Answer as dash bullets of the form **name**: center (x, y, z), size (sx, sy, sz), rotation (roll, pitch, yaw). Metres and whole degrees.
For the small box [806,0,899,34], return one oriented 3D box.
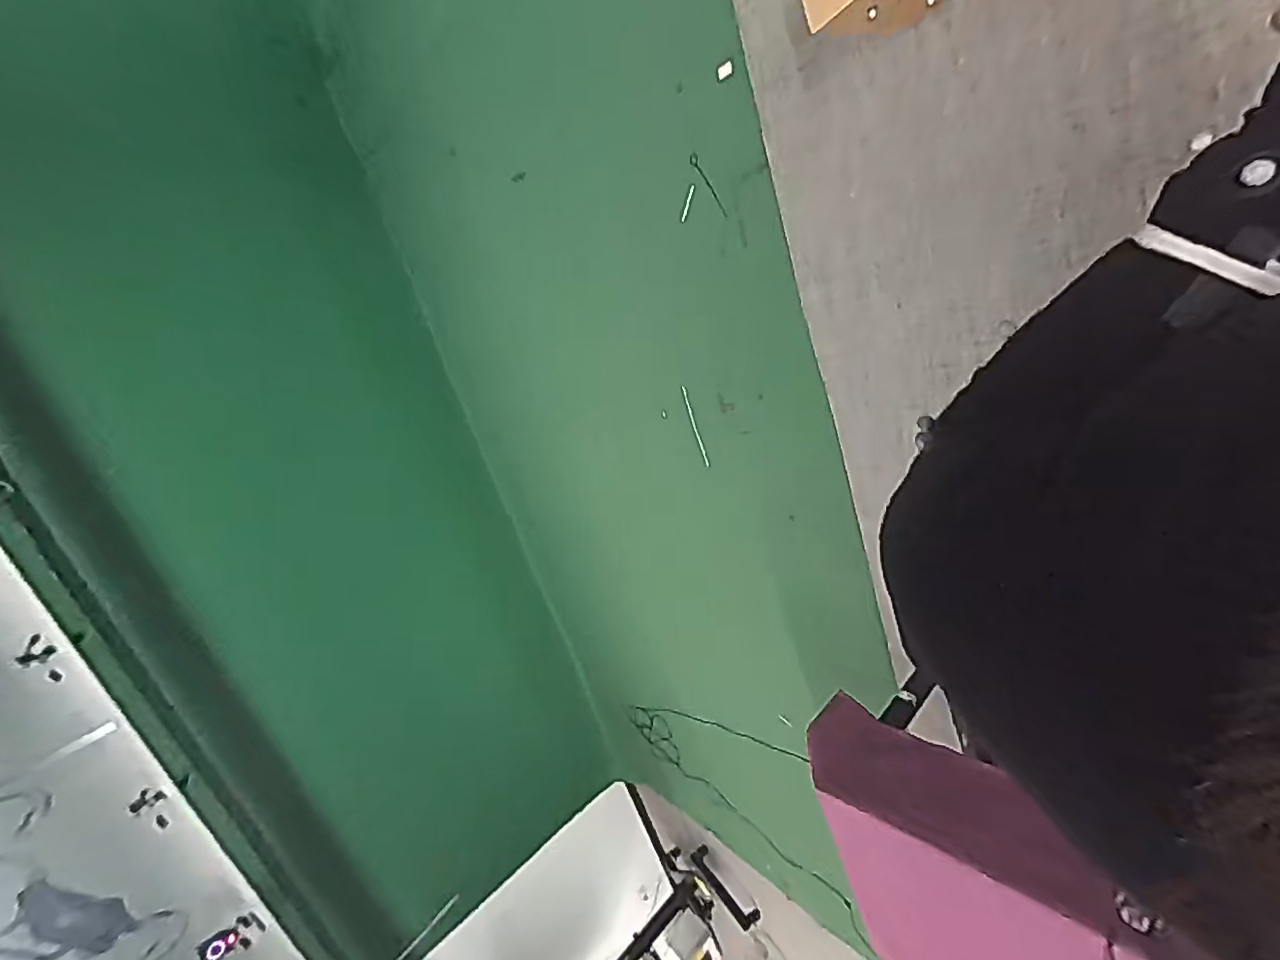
- **small box**: center (0.414, -0.972, 0.996), size (0.168, 0.176, 0.179), rotation (-2, 113, 54)

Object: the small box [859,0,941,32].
- **small box**: center (0.535, -1.044, 1.081), size (0.168, 0.176, 0.179), rotation (1, 115, 54)
